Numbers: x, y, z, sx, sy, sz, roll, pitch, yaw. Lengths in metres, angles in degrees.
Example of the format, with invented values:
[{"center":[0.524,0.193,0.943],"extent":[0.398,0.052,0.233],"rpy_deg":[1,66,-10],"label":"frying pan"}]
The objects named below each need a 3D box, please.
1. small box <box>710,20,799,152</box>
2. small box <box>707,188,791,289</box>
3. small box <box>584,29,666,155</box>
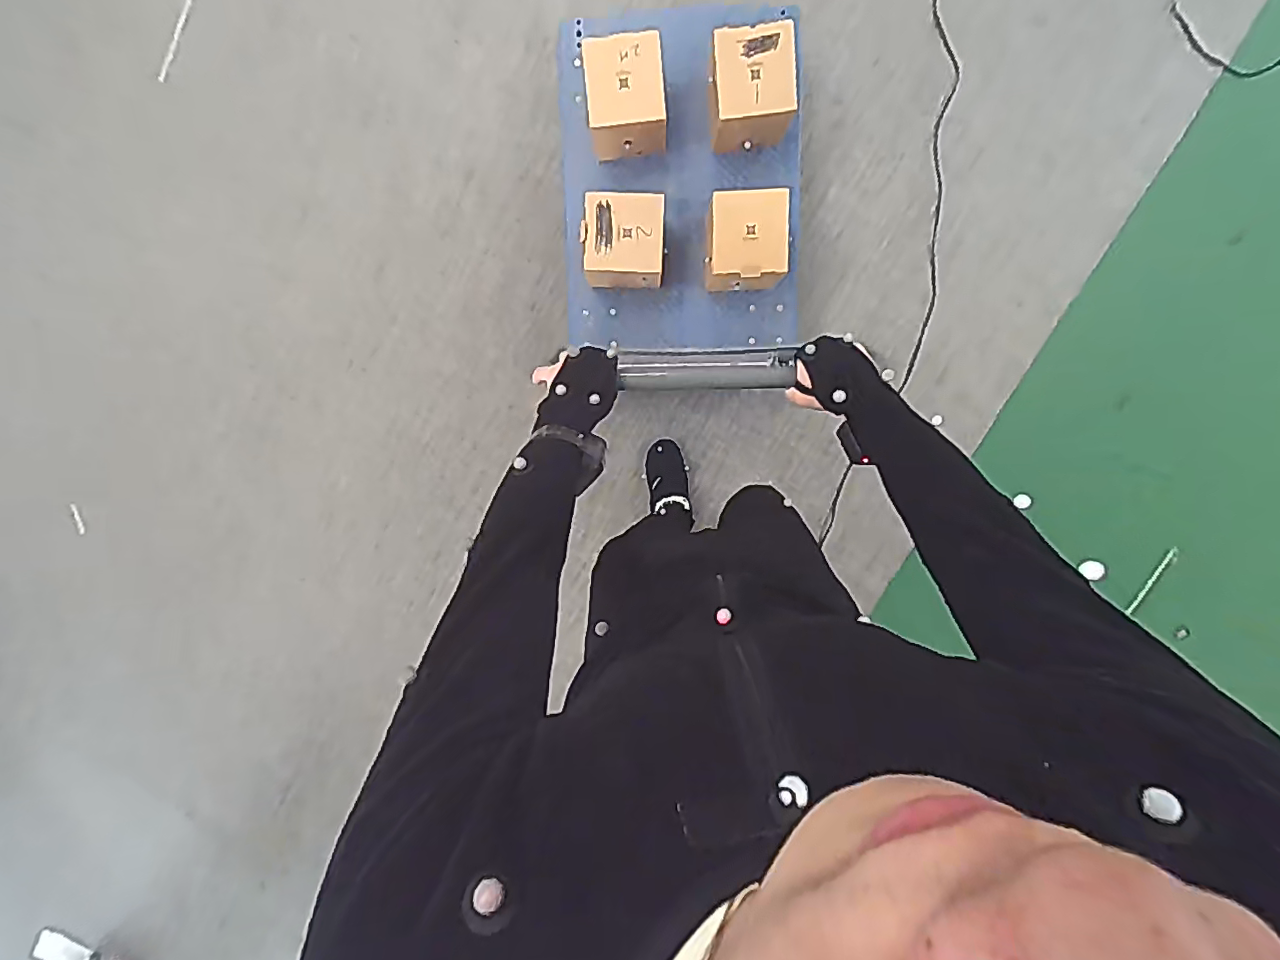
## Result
[{"center":[0.248,-0.865,1.201],"extent":[0.168,0.176,0.179],"rpy_deg":[-5,99,3],"label":"small box"},{"center":[0.246,-0.551,1.250],"extent":[0.168,0.176,0.179],"rpy_deg":[-1,99,2],"label":"small box"},{"center":[-0.028,-0.854,1.211],"extent":[0.168,0.176,0.179],"rpy_deg":[-5,98,2],"label":"small box"}]
